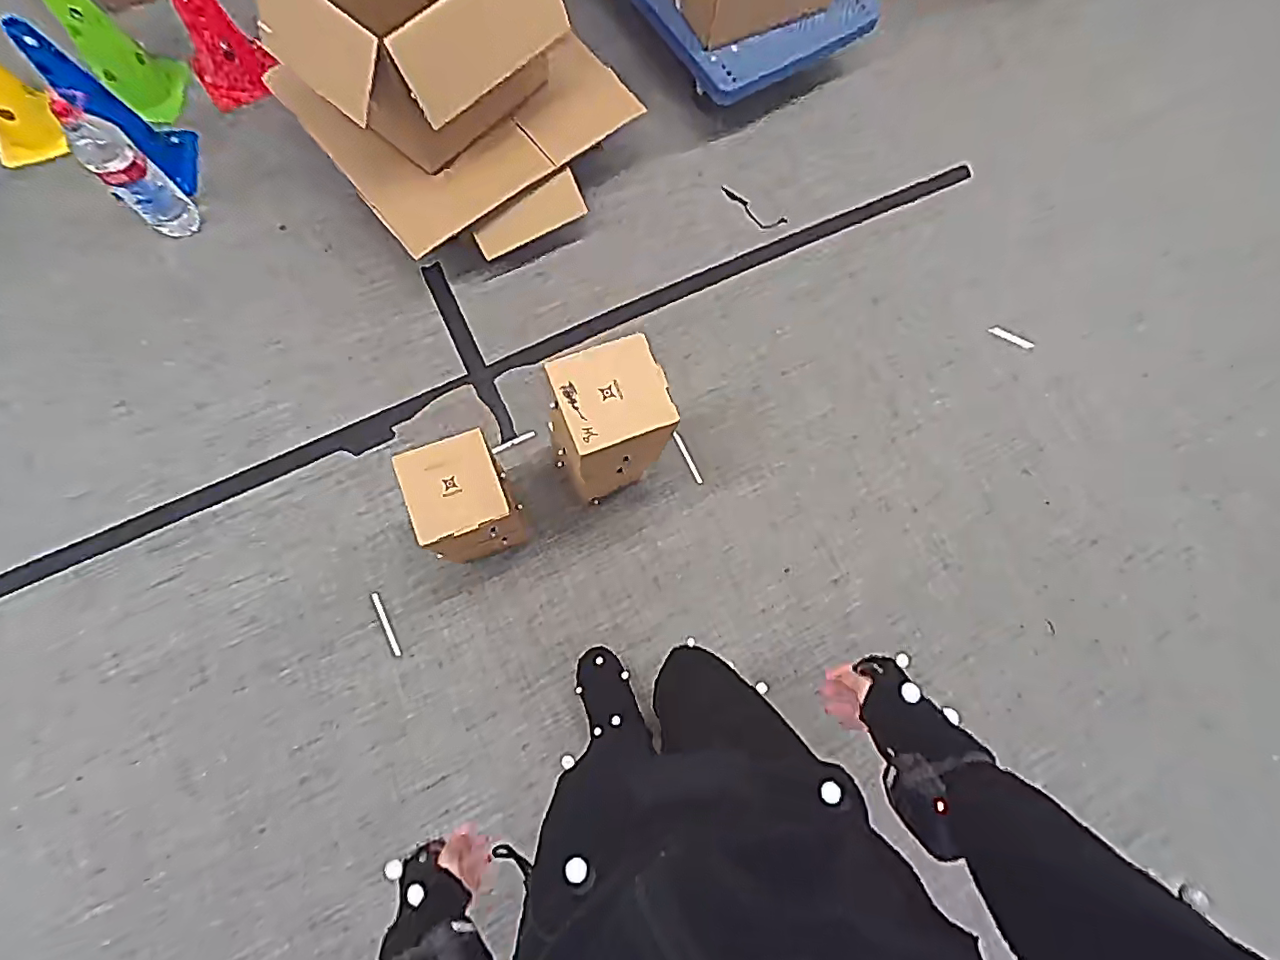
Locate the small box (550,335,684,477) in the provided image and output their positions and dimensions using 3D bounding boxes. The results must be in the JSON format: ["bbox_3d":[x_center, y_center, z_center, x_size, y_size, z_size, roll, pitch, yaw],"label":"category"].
[{"bbox_3d":[-0.048,-0.120,0.933,0.179,0.176,0.168,-20,81,-11],"label":"small box"}]

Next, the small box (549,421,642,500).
[{"bbox_3d":[-0.096,-0.065,1.254,0.168,0.176,0.179,-26,81,-12],"label":"small box"}]

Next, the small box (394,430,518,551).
[{"bbox_3d":[-0.343,0.030,1.041,0.168,0.176,0.179,-21,79,-12],"label":"small box"}]

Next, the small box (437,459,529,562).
[{"bbox_3d":[-0.360,0.074,1.196,0.179,0.176,0.168,-20,80,-10],"label":"small box"}]

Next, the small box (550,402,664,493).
[{"bbox_3d":[-0.067,-0.088,1.093,0.179,0.176,0.168,-24,82,-11],"label":"small box"}]
